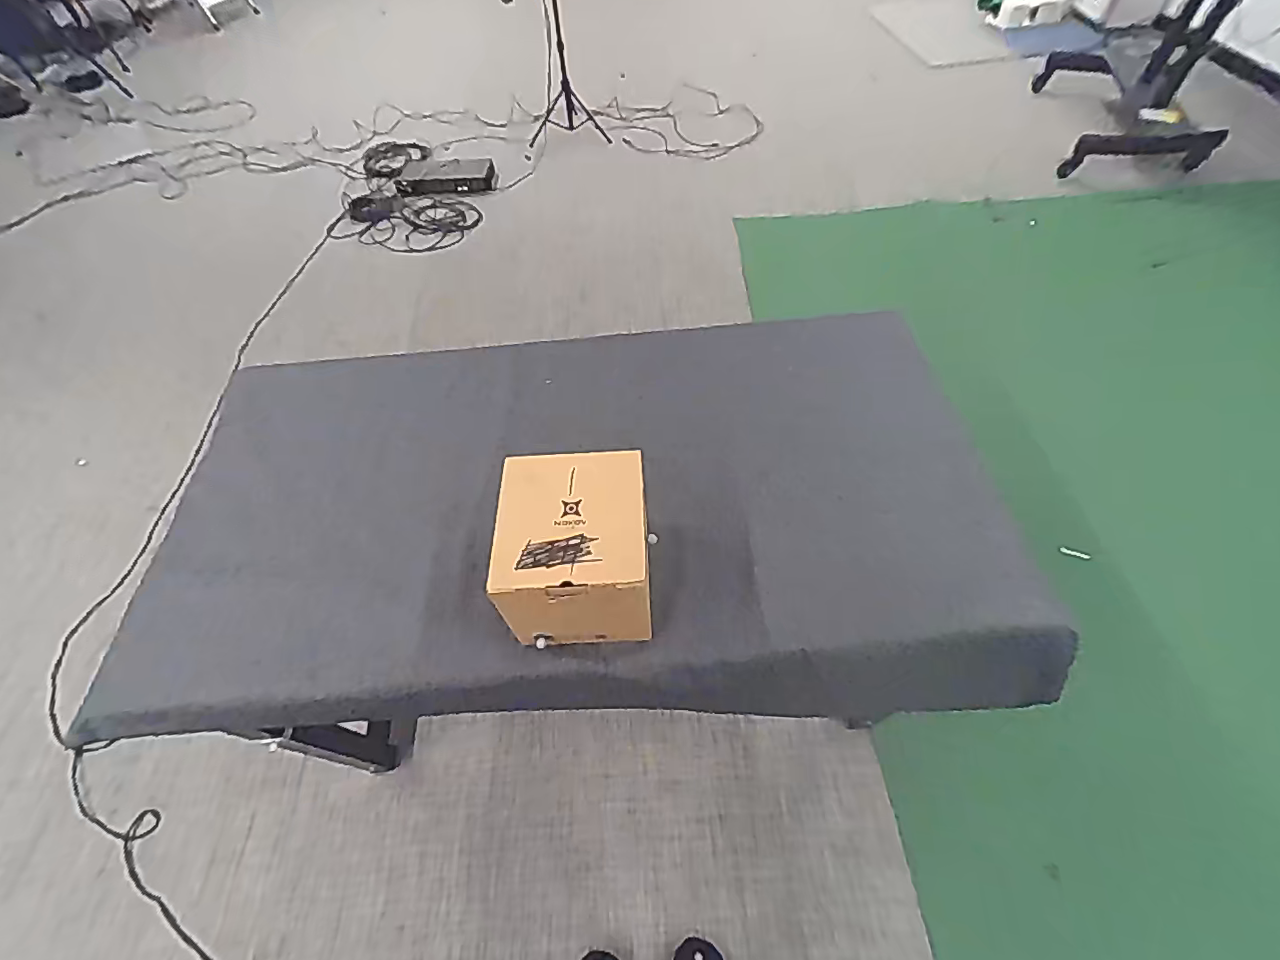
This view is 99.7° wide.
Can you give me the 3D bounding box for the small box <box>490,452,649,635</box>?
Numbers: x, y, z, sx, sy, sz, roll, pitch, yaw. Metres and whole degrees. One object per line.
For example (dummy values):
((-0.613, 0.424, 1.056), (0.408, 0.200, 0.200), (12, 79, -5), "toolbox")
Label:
((-0.073, 0.085, 0.674), (0.168, 0.176, 0.179), (-1, 54, 1), "small box")
